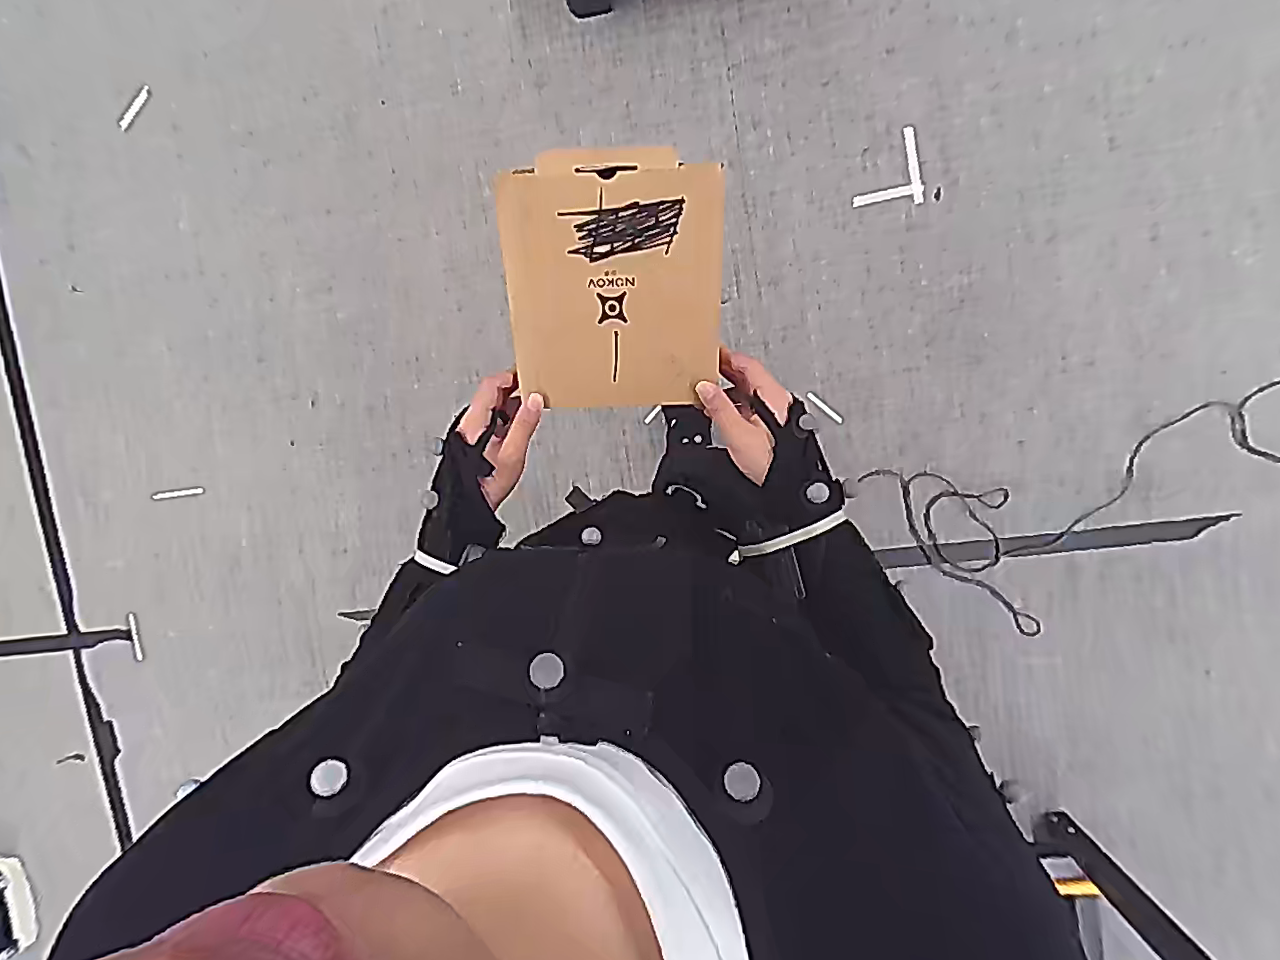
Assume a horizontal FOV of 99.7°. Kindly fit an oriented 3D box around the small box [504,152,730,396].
[{"bbox_3d":[-0.015,-0.180,0.489,0.168,0.176,0.179,0,113,2],"label":"small box"}]
